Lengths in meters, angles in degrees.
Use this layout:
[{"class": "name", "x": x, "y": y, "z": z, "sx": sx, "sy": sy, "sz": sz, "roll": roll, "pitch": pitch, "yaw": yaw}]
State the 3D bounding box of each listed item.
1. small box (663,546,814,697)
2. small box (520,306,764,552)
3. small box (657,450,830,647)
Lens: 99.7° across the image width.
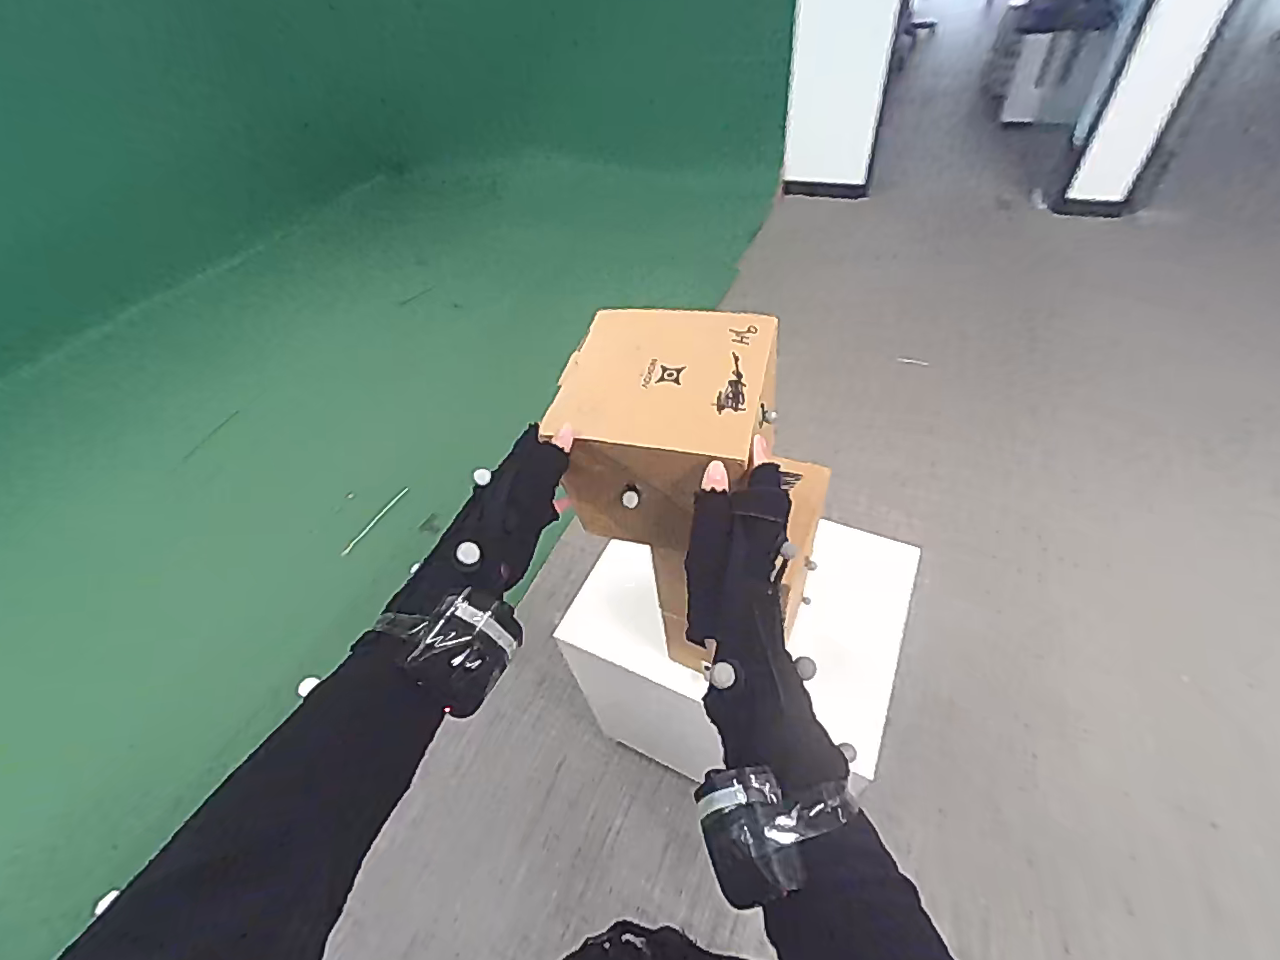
[{"class": "small box", "x": 0.147, "y": 0.186, "z": 0.799, "sx": 0.168, "sy": 0.176, "sz": 0.179, "roll": 15, "pitch": 54, "yaw": 22}, {"class": "small box", "x": 0.019, "y": -0.046, "z": 0.520, "sx": 0.179, "sy": 0.176, "sz": 0.168, "roll": 7, "pitch": 58, "yaw": 18}, {"class": "small box", "x": 0.127, "y": 0.076, "z": 0.679, "sx": 0.168, "sy": 0.176, "sz": 0.179, "roll": 14, "pitch": 51, "yaw": 20}]
